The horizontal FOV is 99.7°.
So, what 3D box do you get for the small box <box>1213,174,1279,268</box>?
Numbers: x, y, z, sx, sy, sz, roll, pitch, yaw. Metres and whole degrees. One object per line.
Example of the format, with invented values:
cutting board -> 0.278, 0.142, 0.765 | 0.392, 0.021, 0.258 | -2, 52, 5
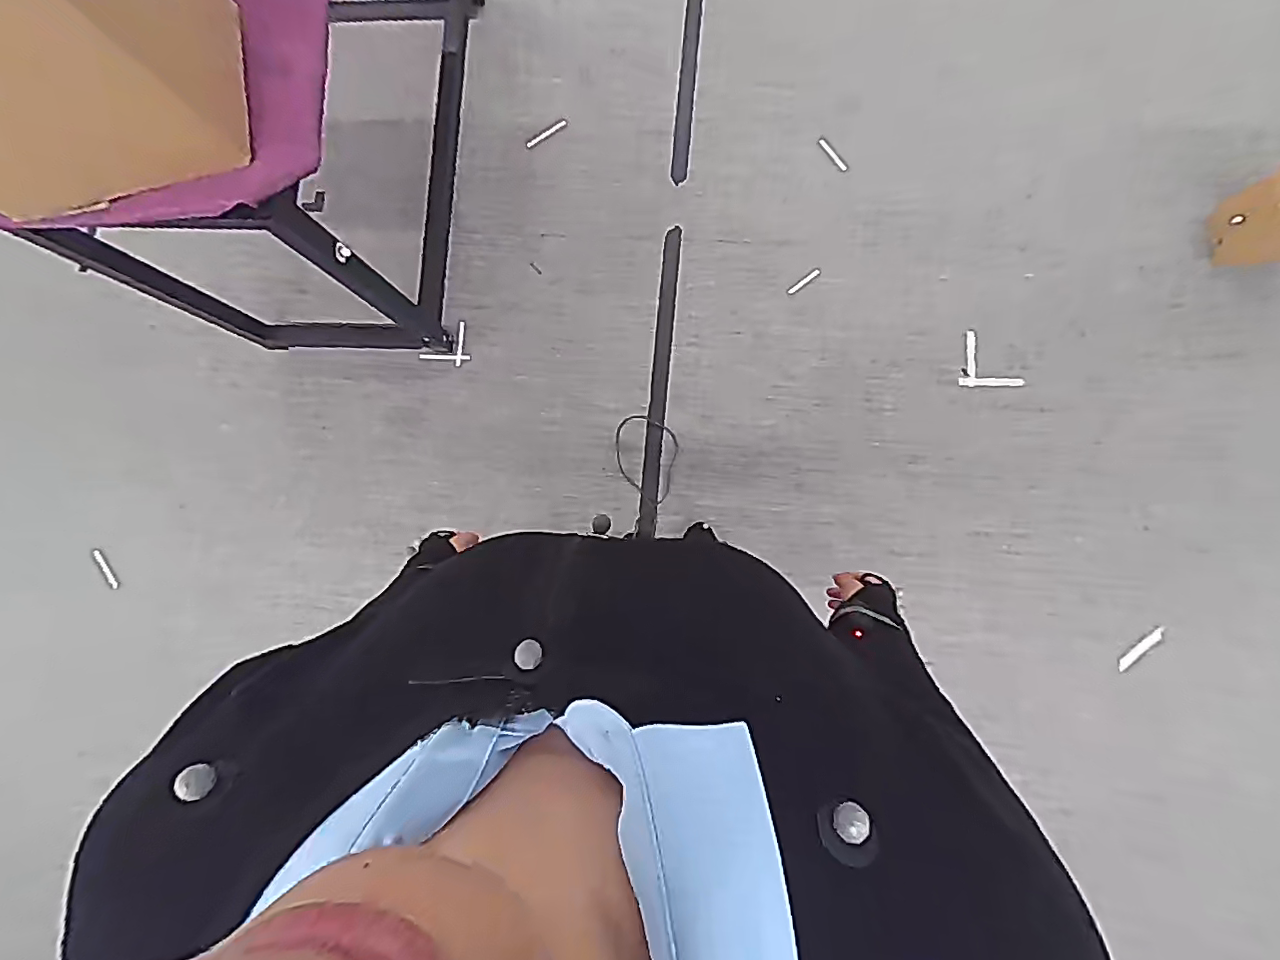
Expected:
small box -> 1.653, -0.668, 1.405 | 0.179, 0.176, 0.168 | 0, 85, 3
